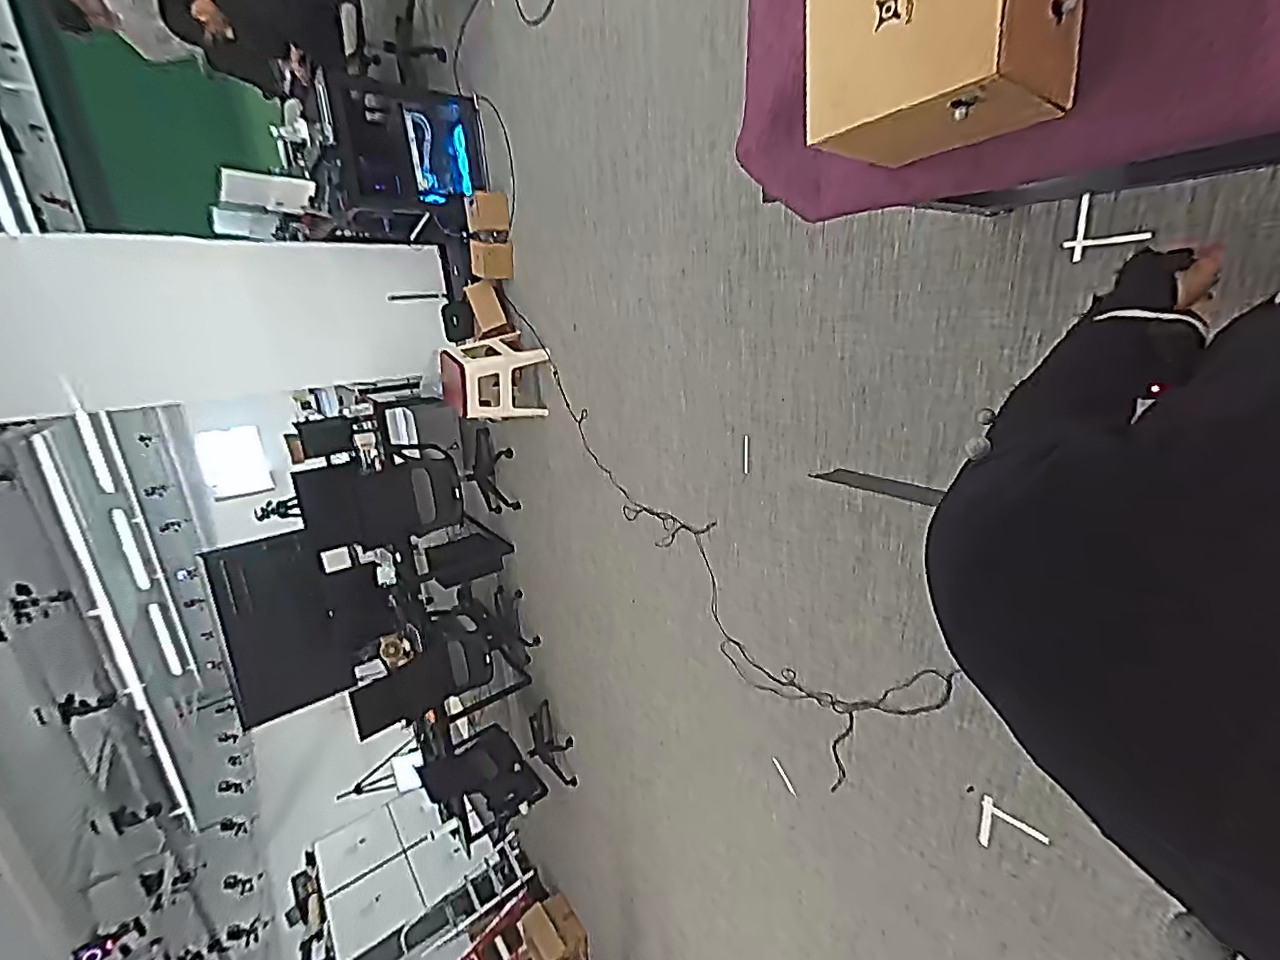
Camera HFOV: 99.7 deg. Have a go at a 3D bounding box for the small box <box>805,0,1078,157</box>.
[{"bbox_3d":[0.277,-0.425,0.506,0.179,0.176,0.168,12,112,51],"label":"small box"}]
